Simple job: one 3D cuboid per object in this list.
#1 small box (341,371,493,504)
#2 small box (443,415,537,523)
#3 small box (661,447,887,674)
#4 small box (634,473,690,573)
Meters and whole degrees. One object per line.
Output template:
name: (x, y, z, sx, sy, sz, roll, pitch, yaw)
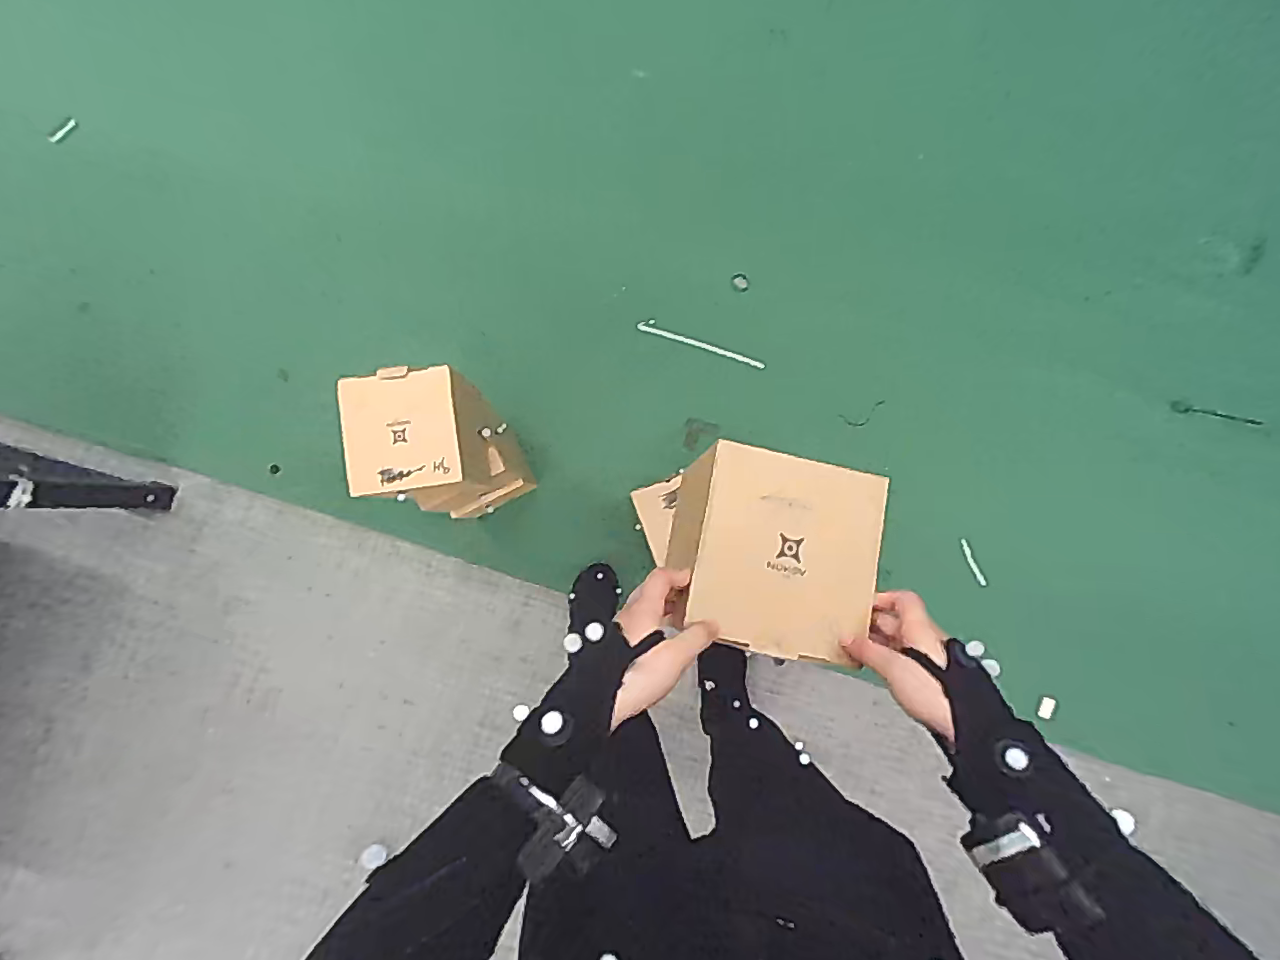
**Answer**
small box: (-0.344, -0.059, 0.860, 0.168, 0.176, 0.179, -8, 87, 0)
small box: (-0.344, -0.020, 1.187, 0.168, 0.176, 0.179, -27, 87, -2)
small box: (0.123, 0.082, 0.554, 0.168, 0.176, 0.179, 11, 79, -6)
small box: (0.089, 0.088, 1.182, 0.168, 0.176, 0.179, -21, 88, -2)
